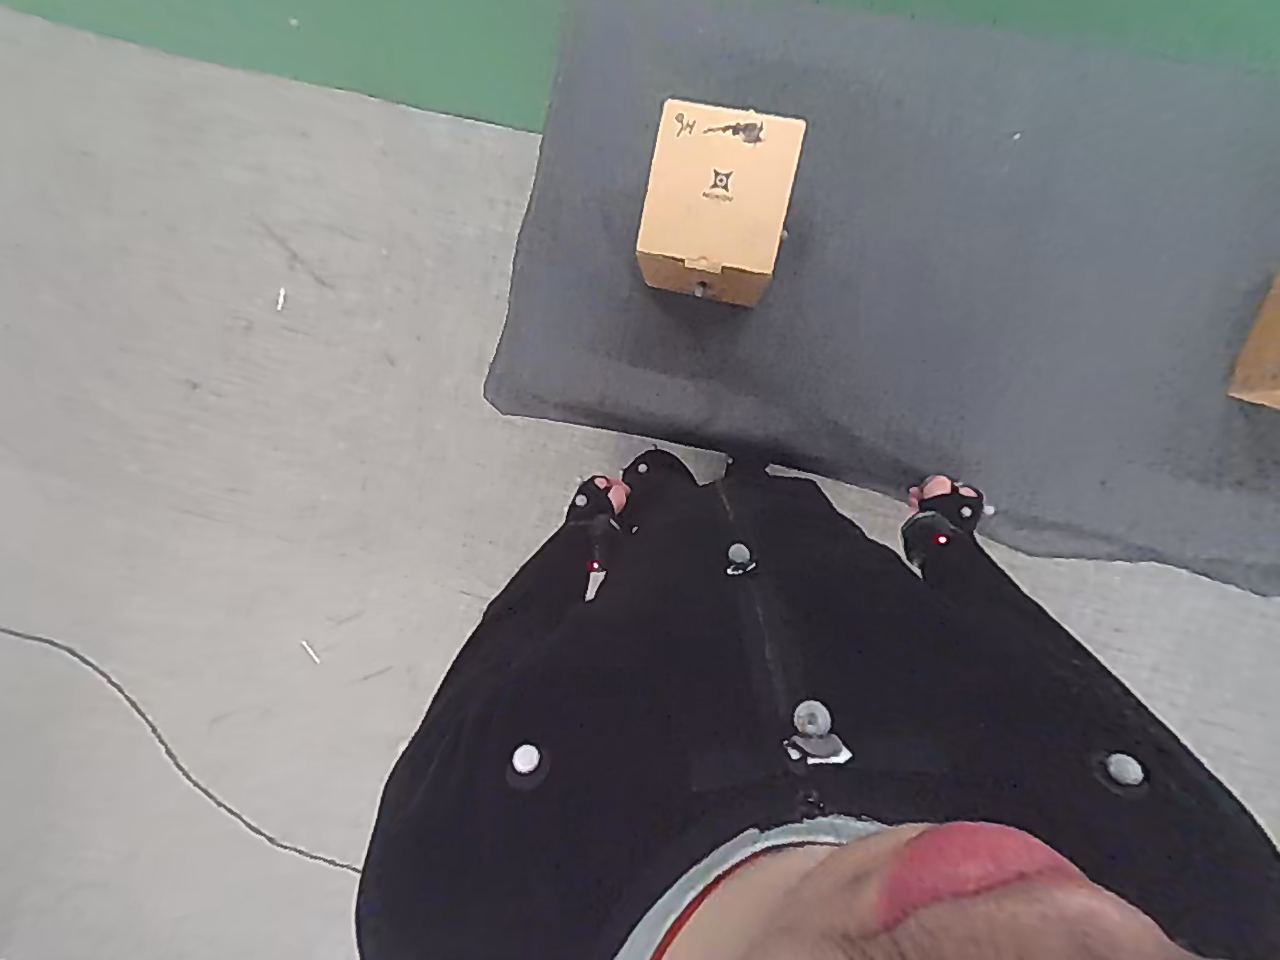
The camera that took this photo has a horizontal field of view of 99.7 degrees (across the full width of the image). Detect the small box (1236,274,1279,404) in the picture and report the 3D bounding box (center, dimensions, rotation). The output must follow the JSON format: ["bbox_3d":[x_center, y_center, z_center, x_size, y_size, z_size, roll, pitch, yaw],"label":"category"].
[{"bbox_3d":[0.882,-0.166,0.633,0.168,0.176,0.179,17,97,3],"label":"small box"}]

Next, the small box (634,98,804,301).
[{"bbox_3d":[0.097,-0.345,0.702,0.168,0.176,0.179,12,97,4],"label":"small box"}]
